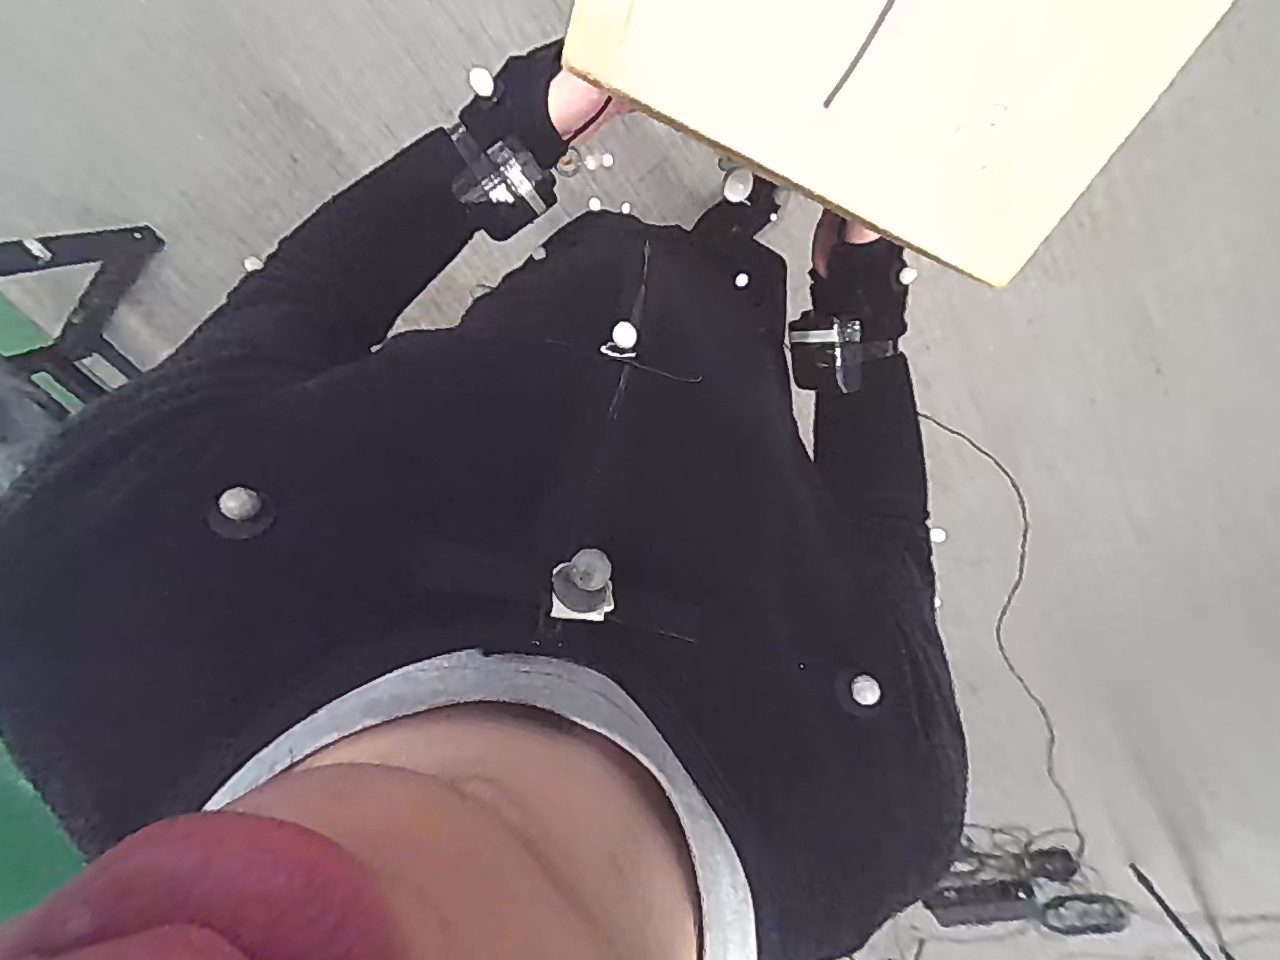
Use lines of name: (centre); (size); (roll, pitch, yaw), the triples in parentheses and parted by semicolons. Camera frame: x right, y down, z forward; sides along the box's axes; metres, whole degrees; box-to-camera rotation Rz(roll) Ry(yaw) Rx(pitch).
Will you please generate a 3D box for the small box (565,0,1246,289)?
small box: (0.091, -0.202, 0.193); (0.168, 0.176, 0.179); (23, 123, -8)
